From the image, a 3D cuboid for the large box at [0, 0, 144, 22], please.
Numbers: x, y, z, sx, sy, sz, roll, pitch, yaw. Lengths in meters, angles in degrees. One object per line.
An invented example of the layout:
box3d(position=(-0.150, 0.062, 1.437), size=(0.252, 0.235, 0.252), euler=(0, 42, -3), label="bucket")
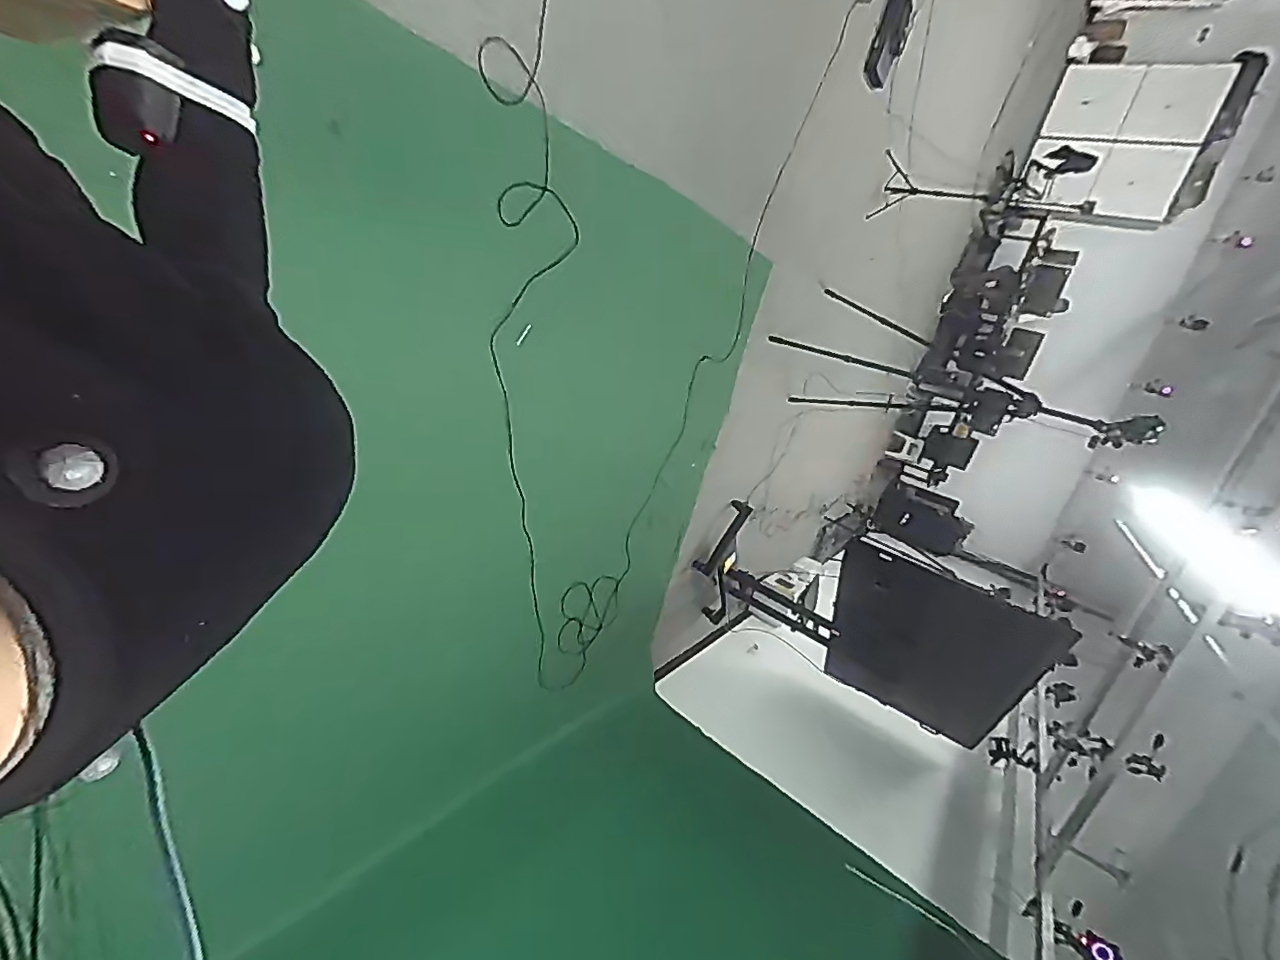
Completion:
box3d(position=(-0.553, -0.489, 0.250), size=(0.408, 0.320, 0.320), euler=(-19, 125, -52), label="large box")
